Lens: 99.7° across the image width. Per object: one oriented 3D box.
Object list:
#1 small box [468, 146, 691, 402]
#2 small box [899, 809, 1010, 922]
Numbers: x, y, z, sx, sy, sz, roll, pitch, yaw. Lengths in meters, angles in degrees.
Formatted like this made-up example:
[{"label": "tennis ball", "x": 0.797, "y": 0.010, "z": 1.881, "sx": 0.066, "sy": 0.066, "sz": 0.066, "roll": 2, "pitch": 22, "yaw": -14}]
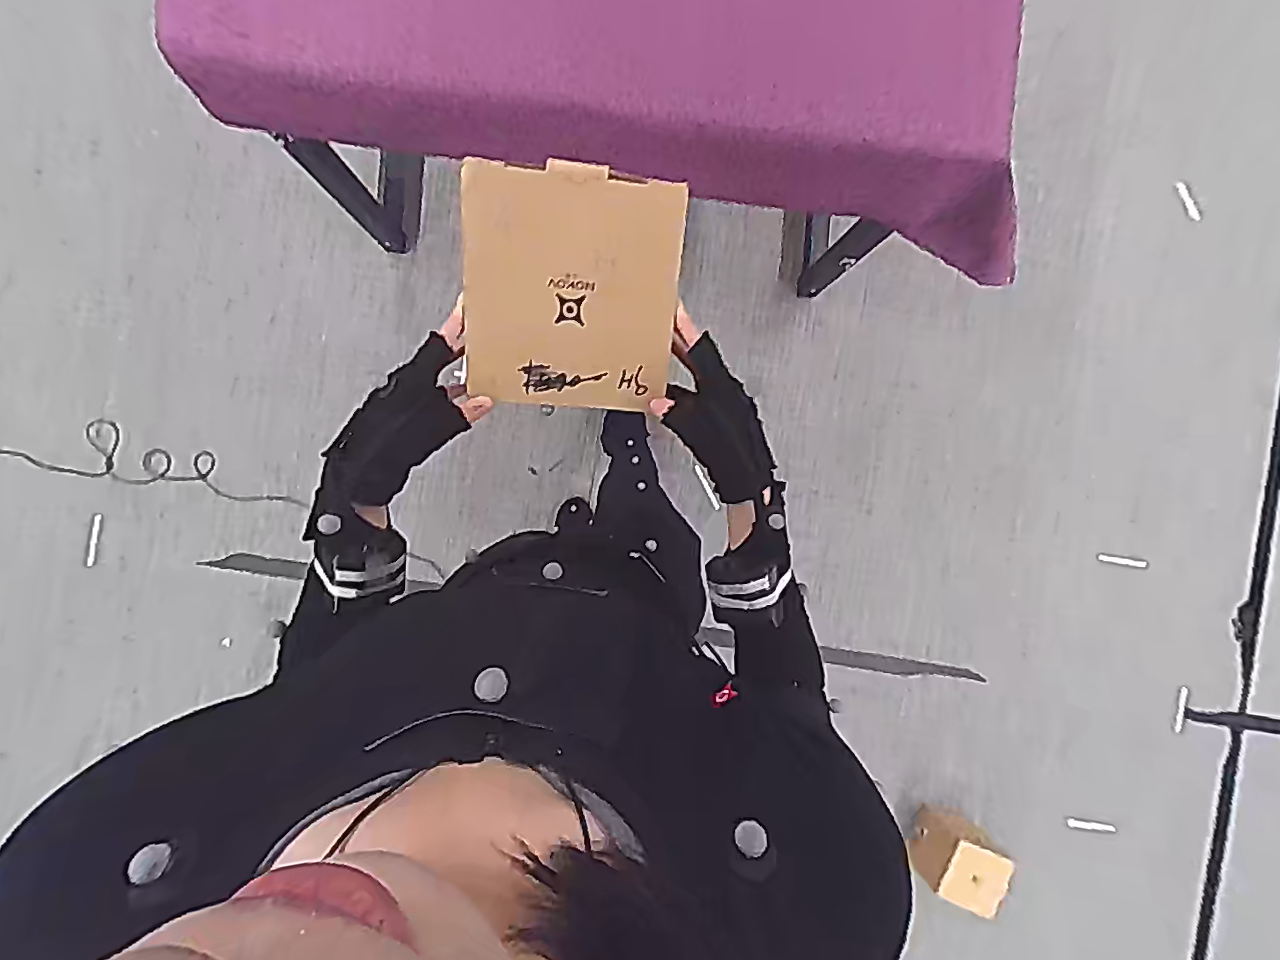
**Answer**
[{"label": "small box", "x": -0.059, "y": -0.180, "z": 0.495, "sx": 0.168, "sy": 0.176, "sz": 0.179, "roll": 3, "pitch": 111, "yaw": -7}, {"label": "small box", "x": 0.871, "y": 1.066, "z": 1.510, "sx": 0.179, "sy": 0.176, "sz": 0.168, "roll": 25, "pitch": 88, "yaw": -3}]
